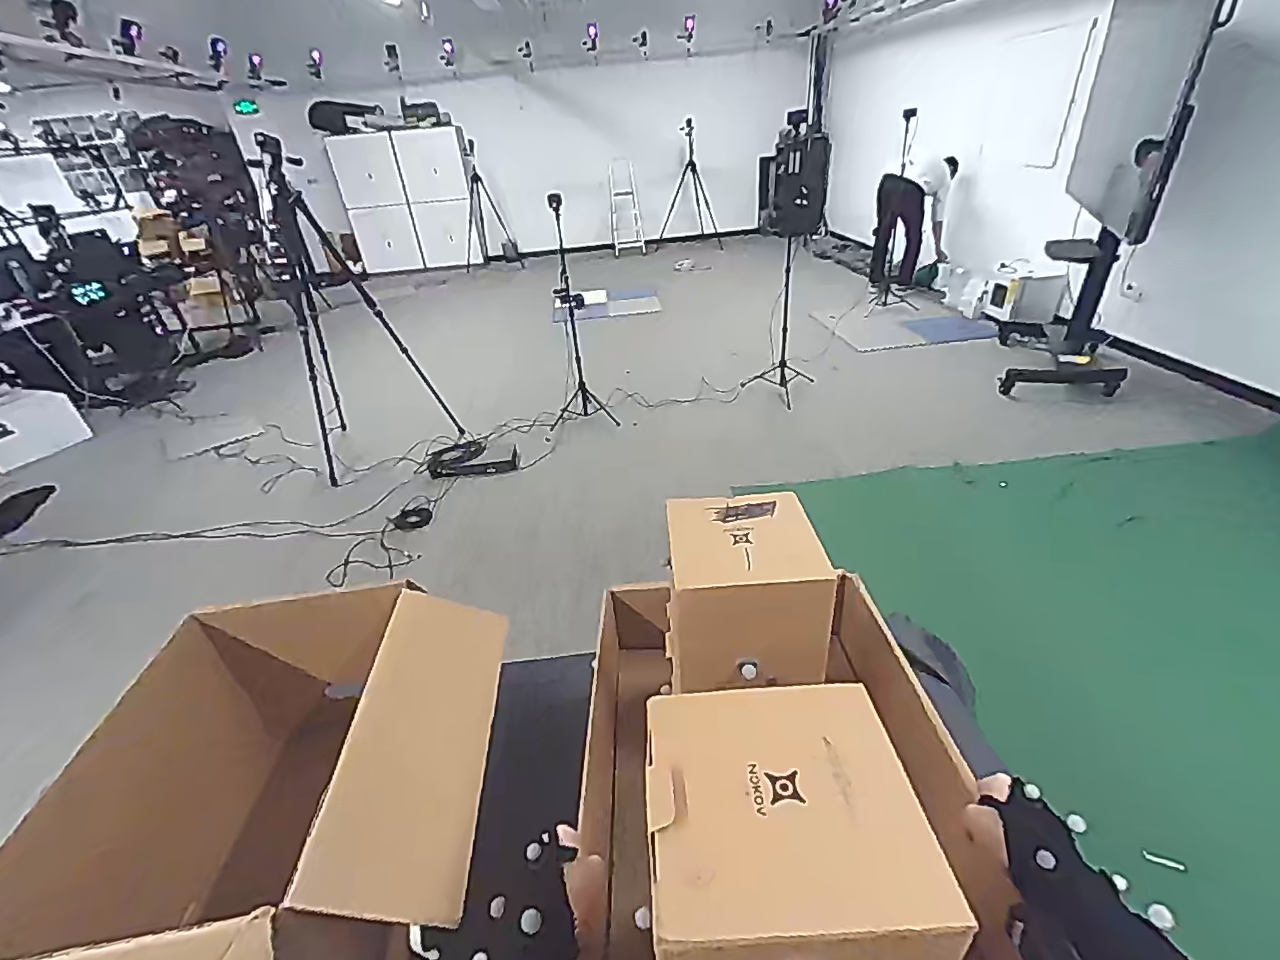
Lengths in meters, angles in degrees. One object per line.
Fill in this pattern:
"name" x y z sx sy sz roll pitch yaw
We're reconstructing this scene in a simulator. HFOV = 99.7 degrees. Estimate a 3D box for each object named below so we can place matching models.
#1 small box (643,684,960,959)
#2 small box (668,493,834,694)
"small box" 0.098 0.281 0.406 0.179 0.176 0.168 -4 29 1
"small box" 0.120 0.134 0.659 0.168 0.176 0.179 -4 30 2
